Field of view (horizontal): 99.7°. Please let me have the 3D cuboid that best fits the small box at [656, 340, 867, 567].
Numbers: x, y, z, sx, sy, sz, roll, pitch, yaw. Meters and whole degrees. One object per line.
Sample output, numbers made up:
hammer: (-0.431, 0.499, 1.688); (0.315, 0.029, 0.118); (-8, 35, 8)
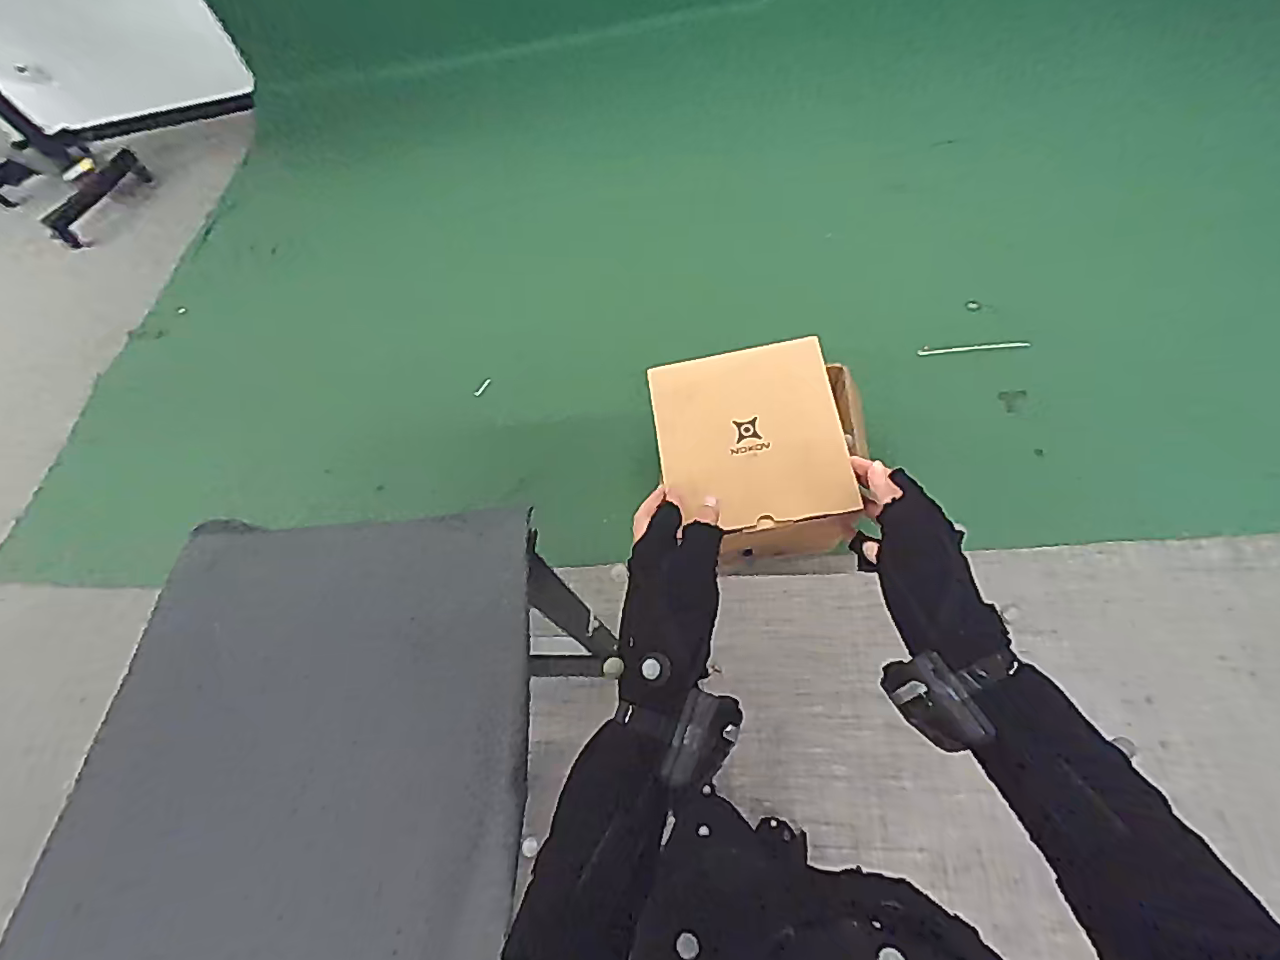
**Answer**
small box: (0.114, -0.016, 0.567); (0.168, 0.176, 0.179); (-10, 72, 6)
